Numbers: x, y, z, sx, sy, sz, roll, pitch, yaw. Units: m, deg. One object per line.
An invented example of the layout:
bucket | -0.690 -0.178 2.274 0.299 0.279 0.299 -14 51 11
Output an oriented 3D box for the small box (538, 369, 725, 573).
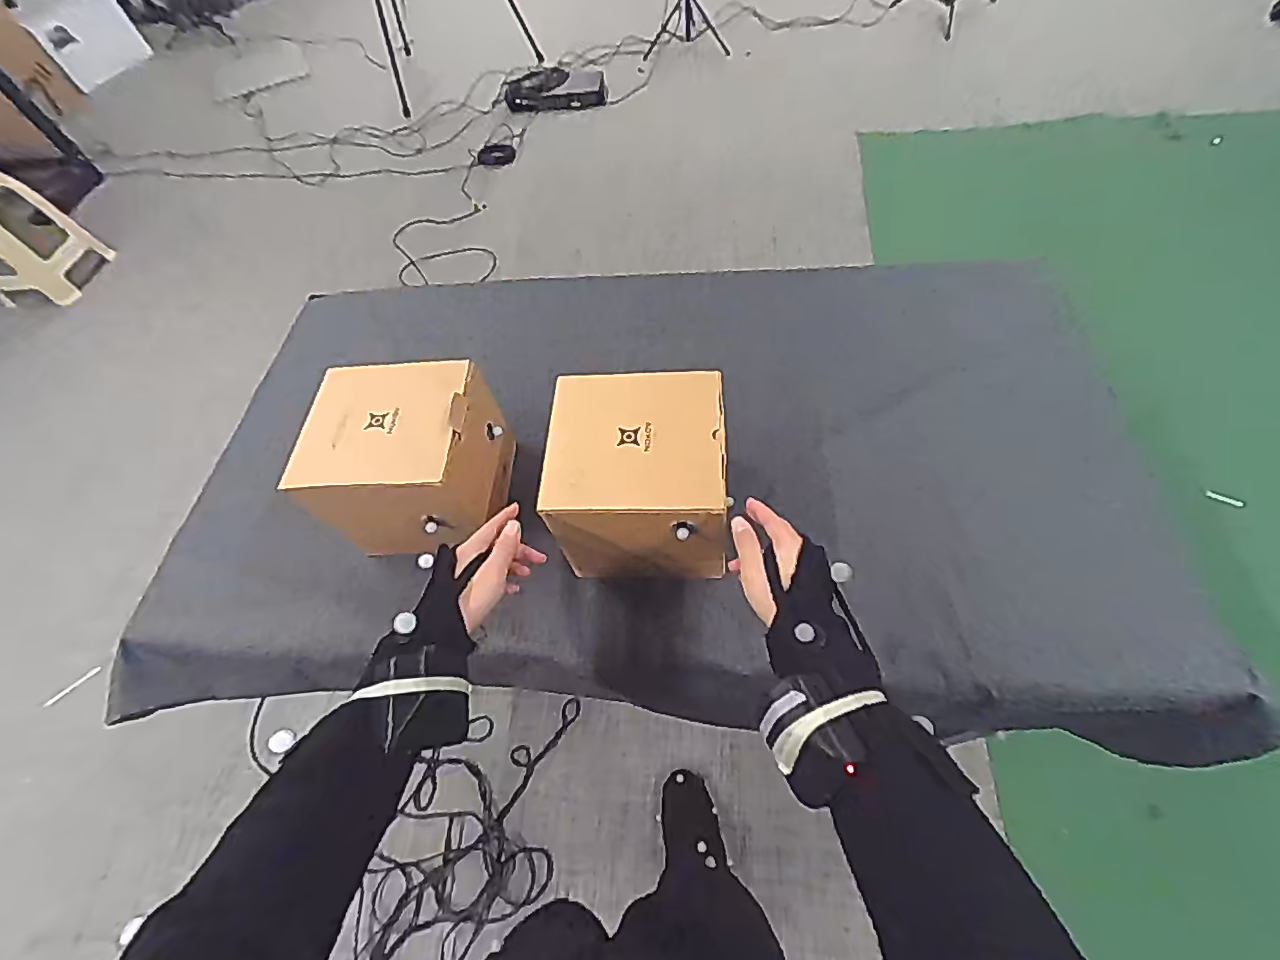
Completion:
small box | 0.003 -0.003 0.600 0.179 0.176 0.168 -1 59 6

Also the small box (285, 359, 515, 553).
small box | -0.263 -0.021 0.646 0.179 0.176 0.168 -3 57 7
